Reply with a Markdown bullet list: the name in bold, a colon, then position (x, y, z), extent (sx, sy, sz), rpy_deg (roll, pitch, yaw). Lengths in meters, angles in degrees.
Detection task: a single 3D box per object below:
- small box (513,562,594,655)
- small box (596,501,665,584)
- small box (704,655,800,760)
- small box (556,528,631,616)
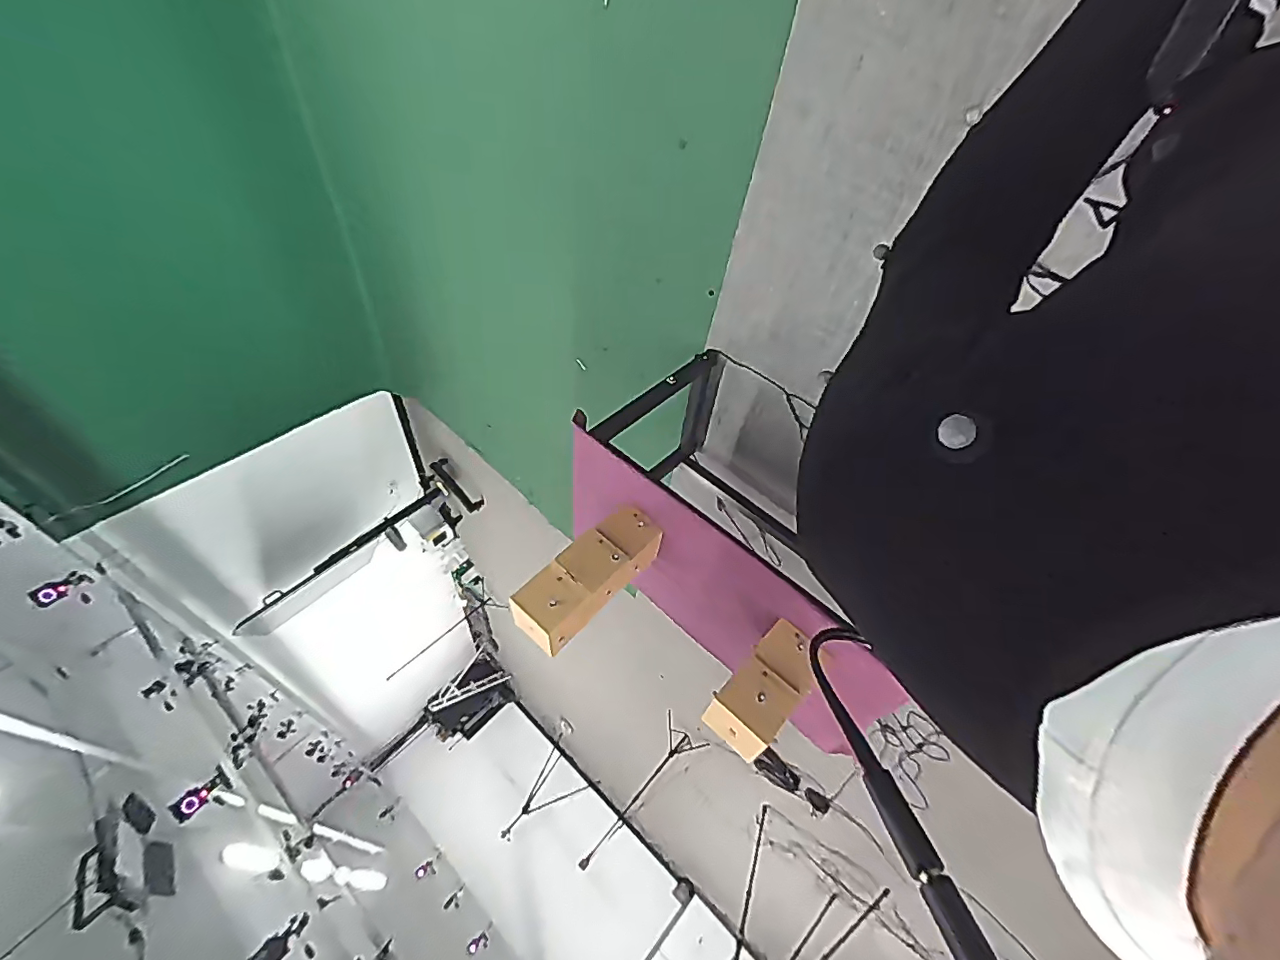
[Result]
- **small box**: position (-0.251, 0.376, 1.604), extent (0.168, 0.176, 0.179), rpy_deg (36, 147, 22)
- **small box**: position (-0.036, 0.204, 1.779), extent (0.168, 0.176, 0.179), rpy_deg (38, 147, 19)
- **small box**: position (0.297, 0.597, 1.432), extent (0.168, 0.176, 0.179), rpy_deg (38, 146, 22)
- **small box**: position (-0.142, 0.281, 1.679), extent (0.168, 0.176, 0.179), rpy_deg (37, 148, 21)
